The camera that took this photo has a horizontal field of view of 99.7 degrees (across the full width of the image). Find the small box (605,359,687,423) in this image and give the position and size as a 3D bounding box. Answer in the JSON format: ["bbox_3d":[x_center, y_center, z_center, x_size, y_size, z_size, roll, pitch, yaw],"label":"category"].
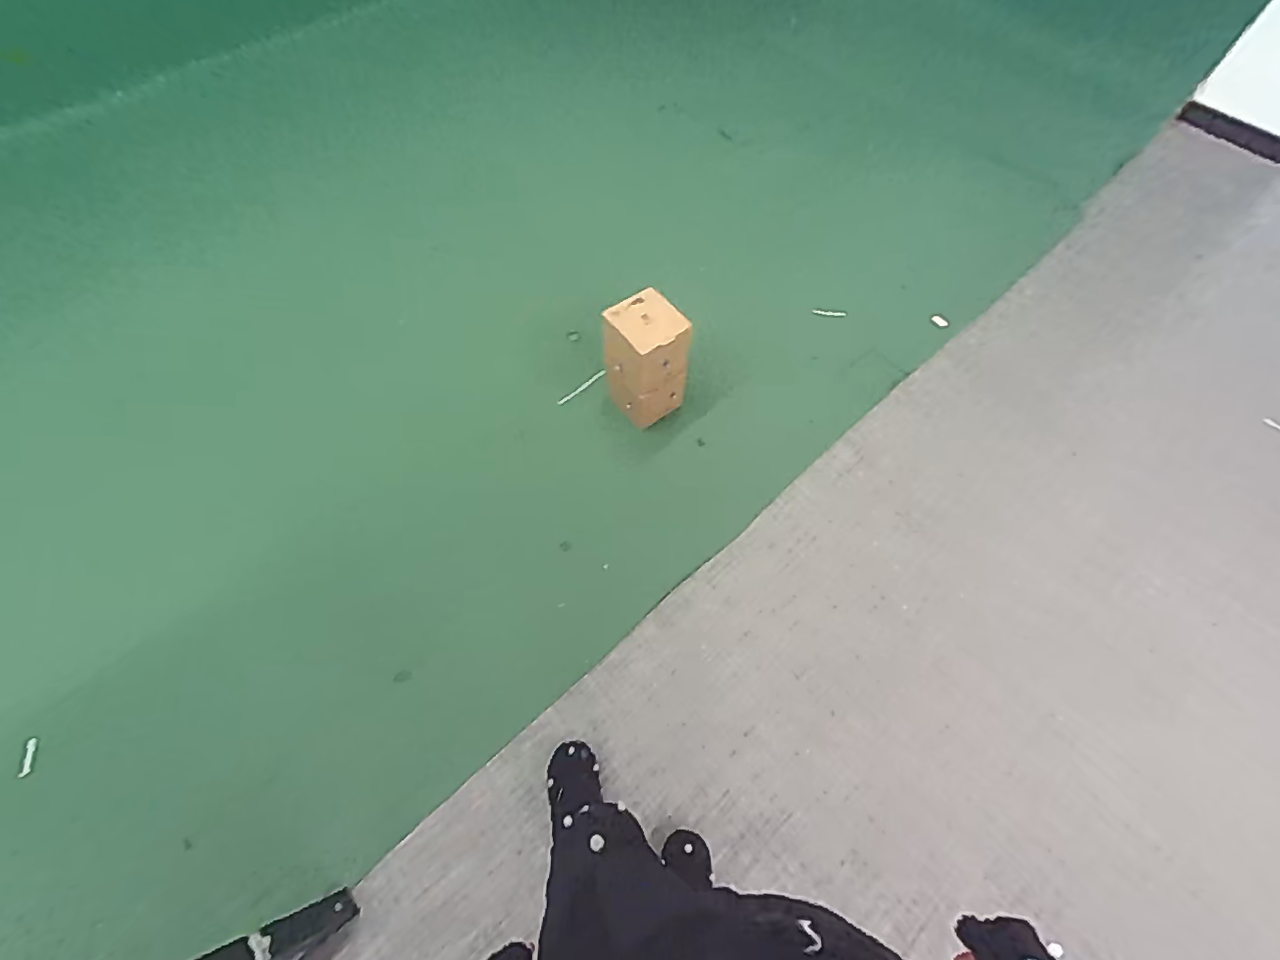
[{"bbox_3d":[0.013,-0.289,1.575,0.168,0.176,0.179,-31,67,-19],"label":"small box"}]

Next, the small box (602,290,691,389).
[{"bbox_3d":[0.014,-0.365,1.451,0.168,0.176,0.179,-33,69,-18],"label":"small box"}]
